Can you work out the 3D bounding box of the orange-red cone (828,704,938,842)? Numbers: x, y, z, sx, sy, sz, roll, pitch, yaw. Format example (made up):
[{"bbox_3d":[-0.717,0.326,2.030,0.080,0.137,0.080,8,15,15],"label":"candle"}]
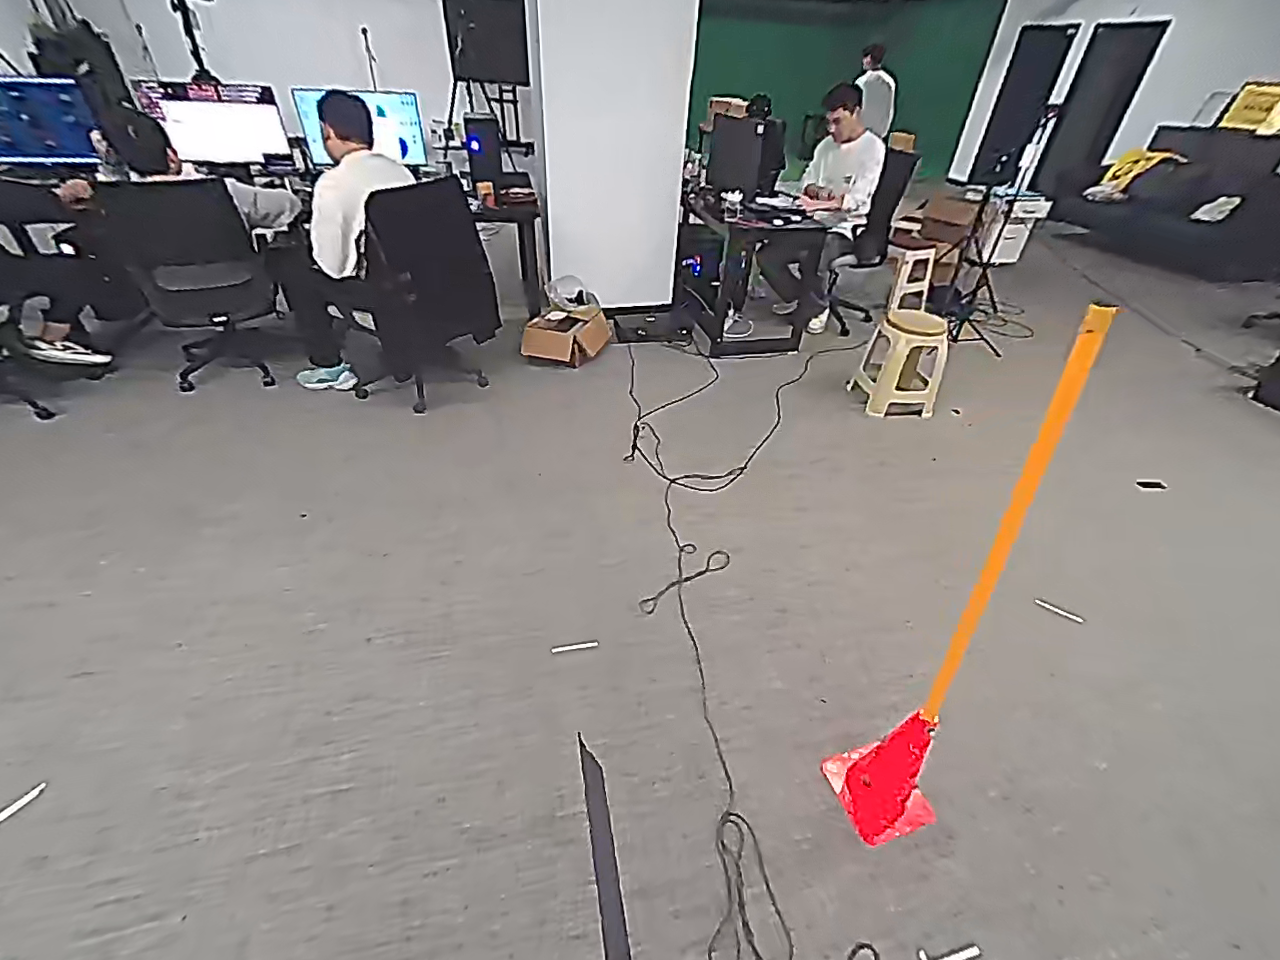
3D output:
[{"bbox_3d":[0.587,0.616,1.211,0.199,0.360,0.198,-10,39,-14],"label":"orange-red cone"}]
